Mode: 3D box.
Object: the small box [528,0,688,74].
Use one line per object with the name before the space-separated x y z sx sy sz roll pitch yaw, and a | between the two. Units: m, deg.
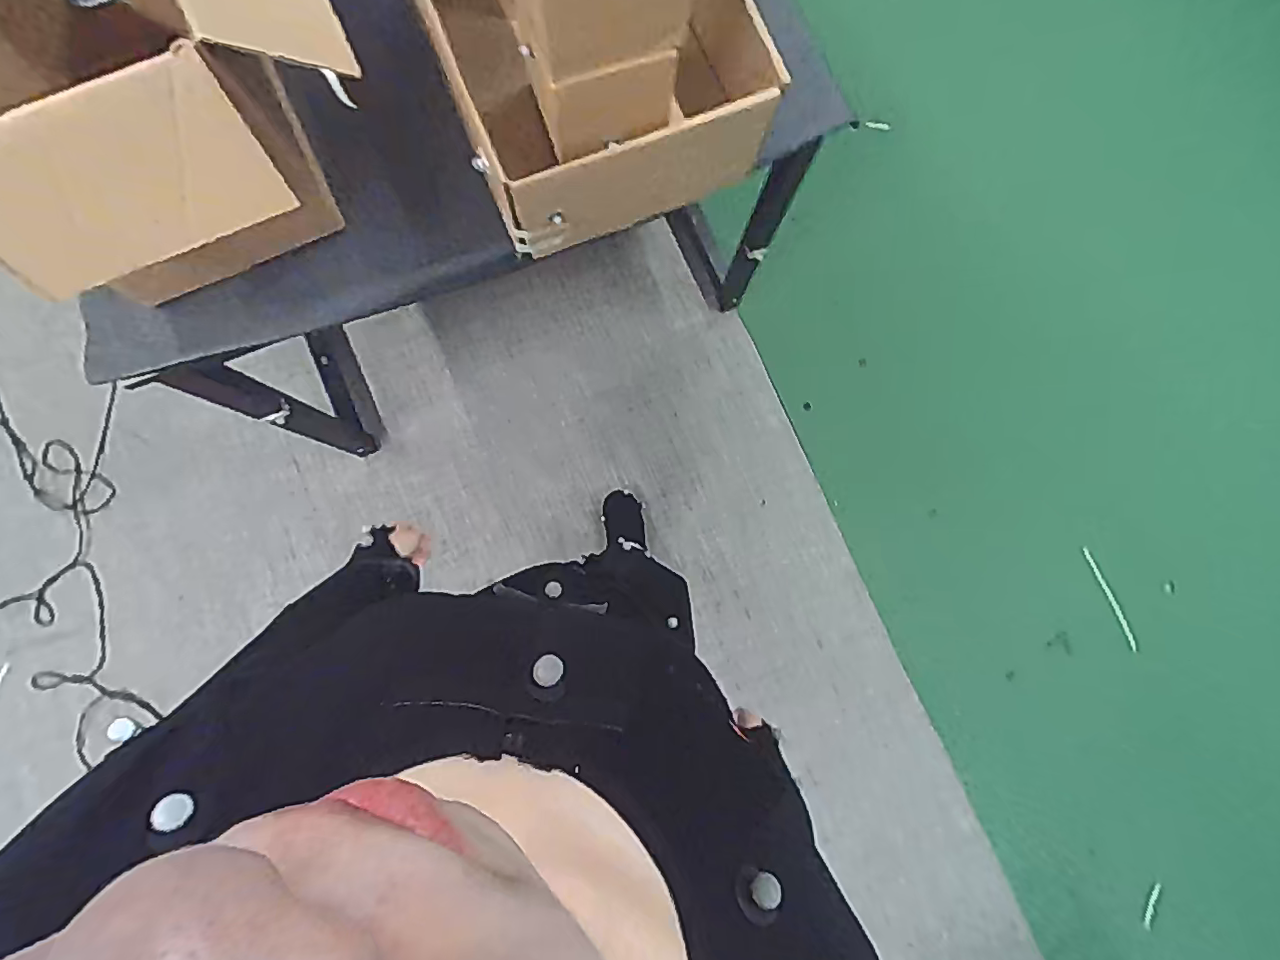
small box | -0.046 -0.591 0.587 0.179 0.176 0.168 -19 86 -6
